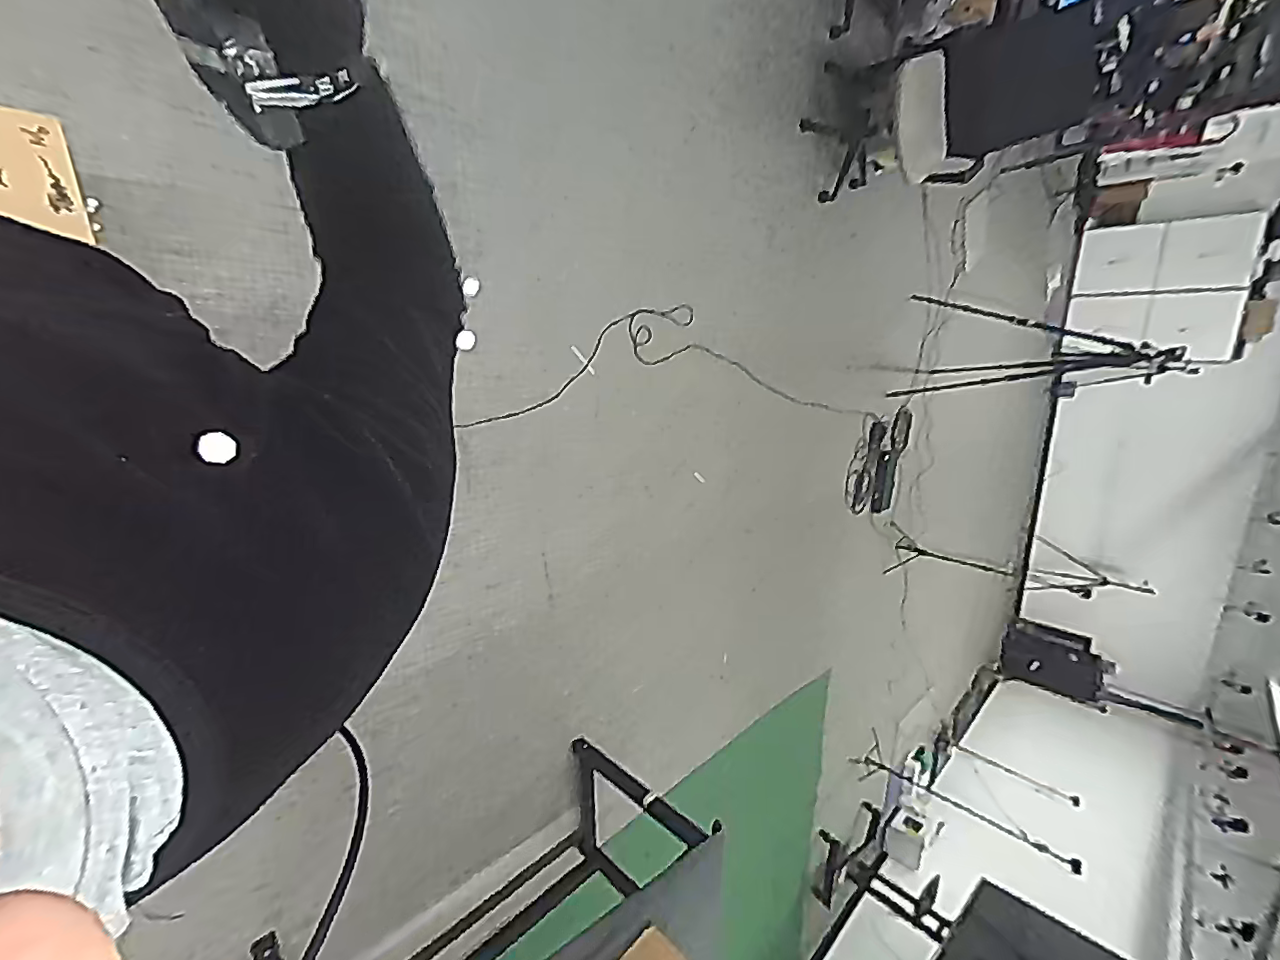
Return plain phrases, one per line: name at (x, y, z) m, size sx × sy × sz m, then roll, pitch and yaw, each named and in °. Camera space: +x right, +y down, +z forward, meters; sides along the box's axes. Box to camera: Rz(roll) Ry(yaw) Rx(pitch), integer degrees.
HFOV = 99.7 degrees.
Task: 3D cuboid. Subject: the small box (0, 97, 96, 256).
small box at (-0.875, -0.401, 0.724) m, size 0.179 × 0.176 × 0.168 m, roll -16°, pitch 110°, yaw -40°
